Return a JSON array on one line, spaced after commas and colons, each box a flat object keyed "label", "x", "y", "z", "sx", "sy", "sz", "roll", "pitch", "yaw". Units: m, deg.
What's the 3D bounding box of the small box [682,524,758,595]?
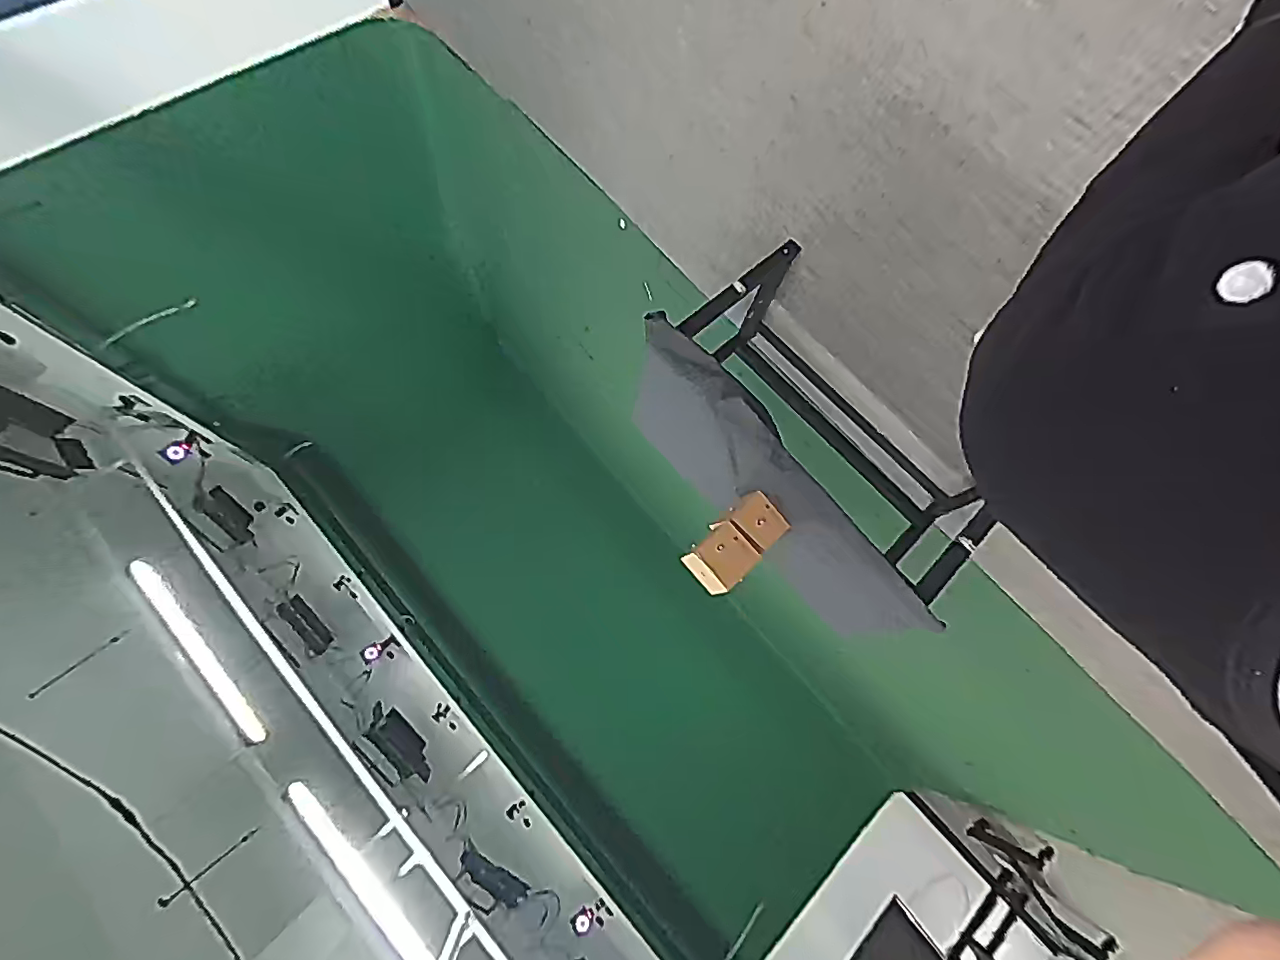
[{"label": "small box", "x": 0.271, "y": 0.268, "z": 1.822, "sx": 0.168, "sy": 0.176, "sz": 0.179, "roll": 50, "pitch": 163, "yaw": 5}]

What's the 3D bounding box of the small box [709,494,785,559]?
[{"label": "small box", "x": 0.380, "y": 0.166, "z": 1.894, "sx": 0.168, "sy": 0.176, "sz": 0.179, "roll": 51, "pitch": 162, "yaw": -1}]
